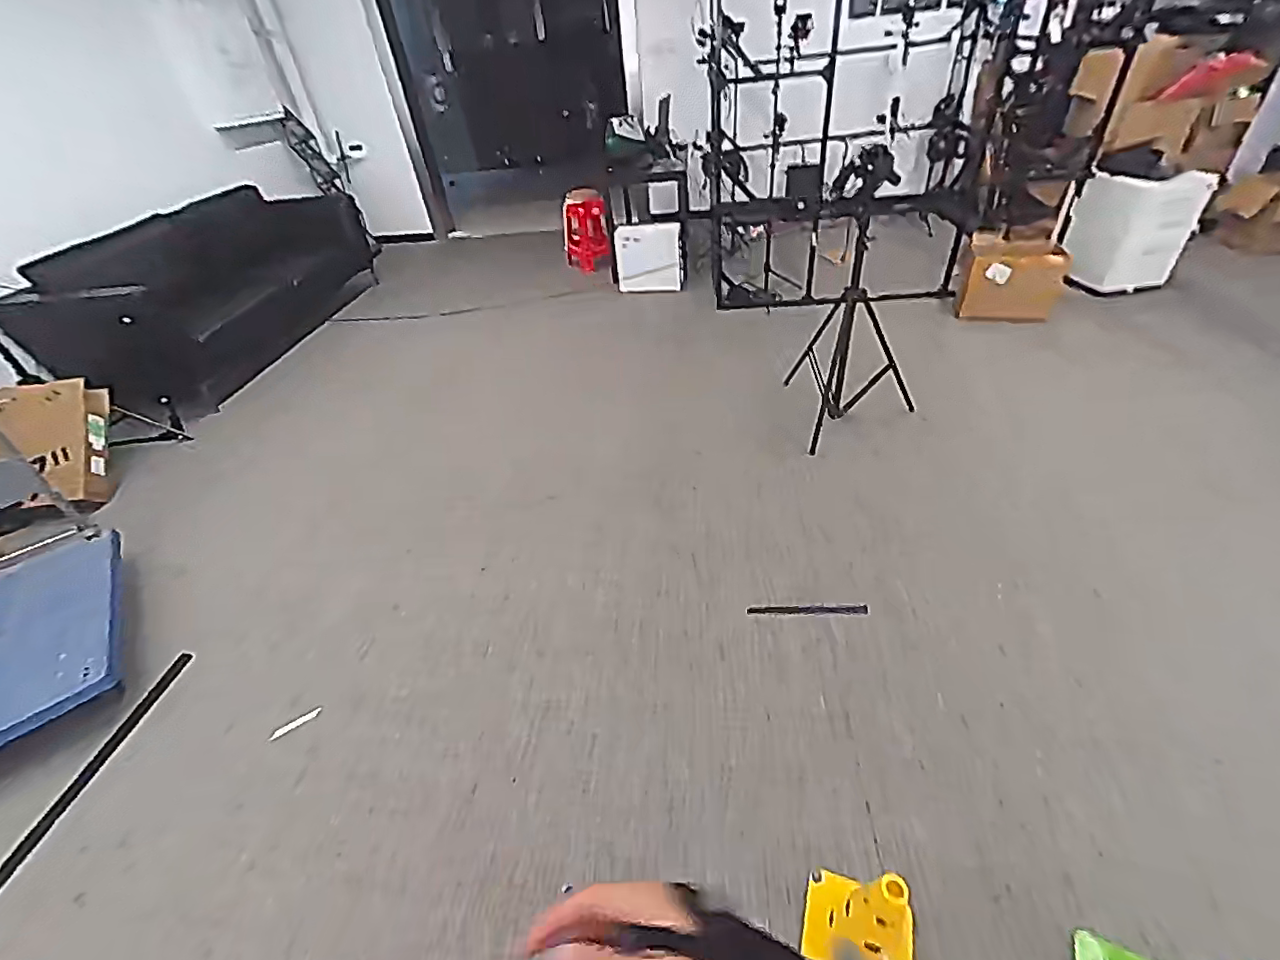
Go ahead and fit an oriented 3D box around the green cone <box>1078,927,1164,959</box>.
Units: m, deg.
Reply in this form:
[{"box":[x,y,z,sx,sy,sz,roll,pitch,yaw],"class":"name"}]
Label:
[{"box":[0.867,0.799,0.827,0.200,0.368,0.202,13,43,23],"class":"green cone"}]
